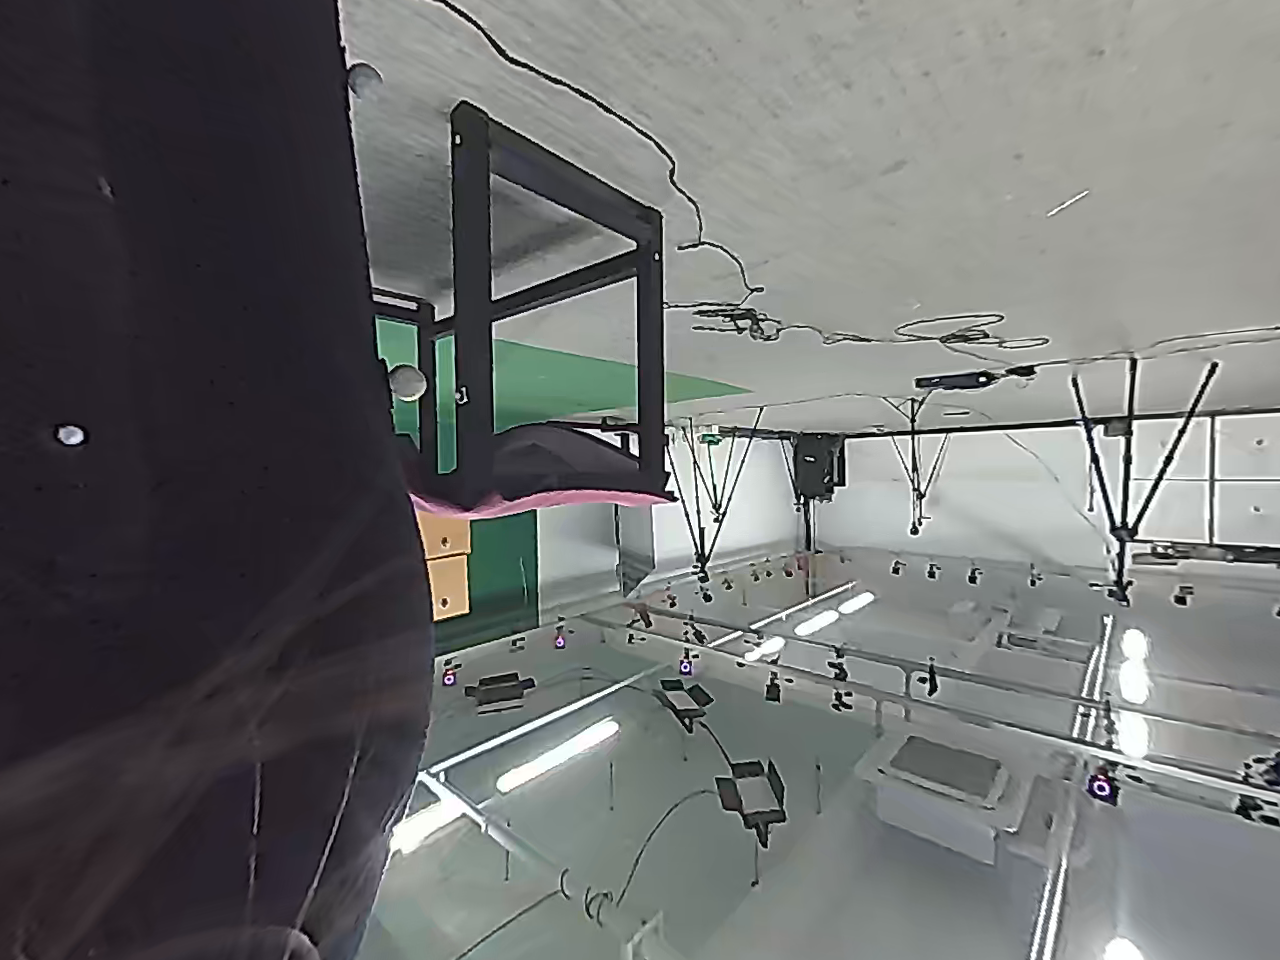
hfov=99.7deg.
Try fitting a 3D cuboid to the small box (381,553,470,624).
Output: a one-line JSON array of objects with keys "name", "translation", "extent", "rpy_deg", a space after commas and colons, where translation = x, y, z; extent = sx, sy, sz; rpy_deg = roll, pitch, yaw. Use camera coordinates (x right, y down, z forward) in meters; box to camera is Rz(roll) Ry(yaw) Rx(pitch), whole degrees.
[{"name": "small box", "translation": [-0.598, 0.289, 1.506], "extent": [0.168, 0.176, 0.179], "rpy_deg": [-2, 180, 38]}]

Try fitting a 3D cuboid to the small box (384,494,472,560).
[{"name": "small box", "translation": [-0.596, 0.124, 1.519], "extent": [0.168, 0.176, 0.179], "rpy_deg": [-1, 180, 37]}]
